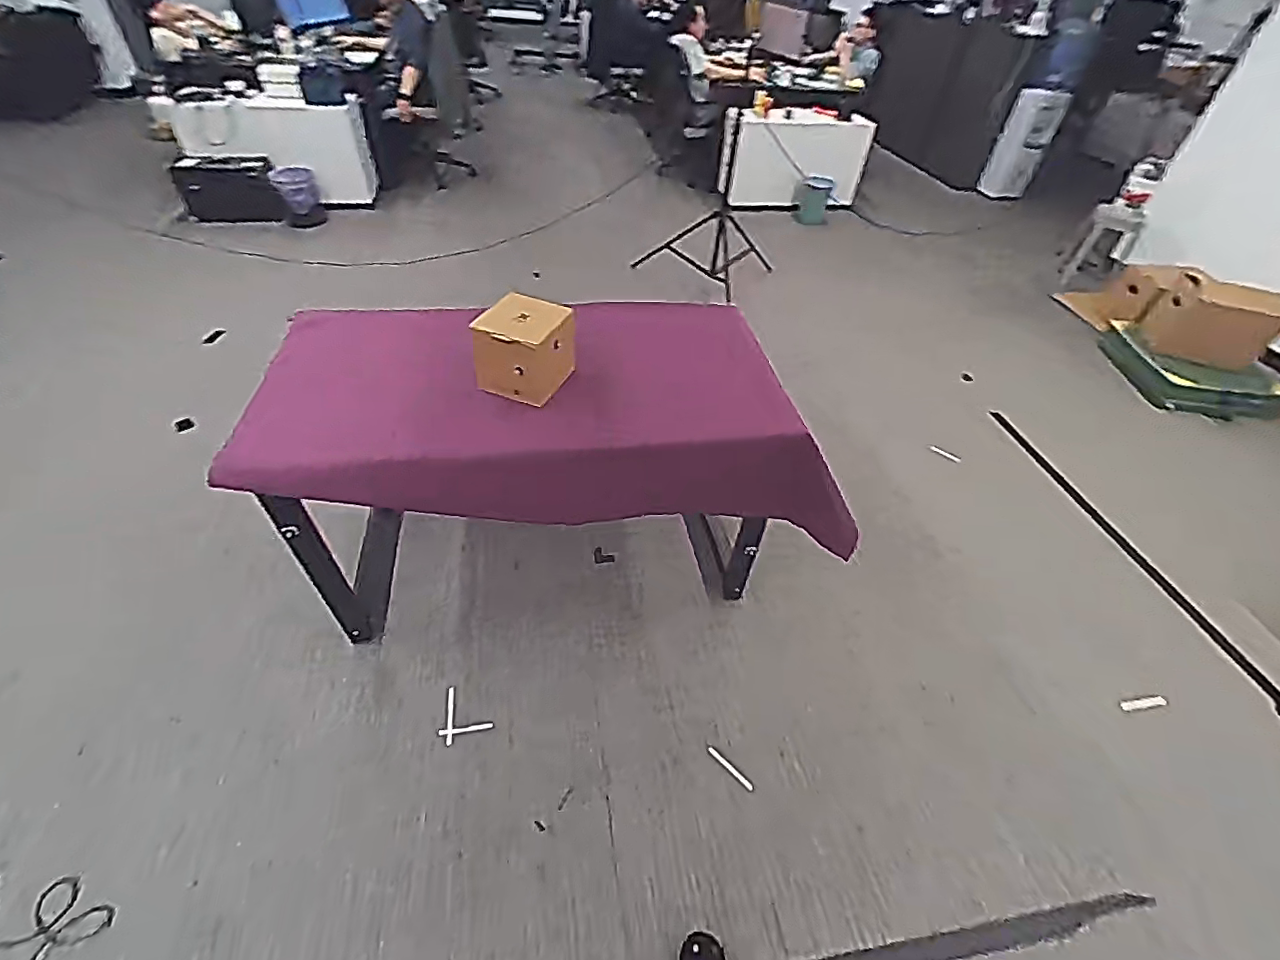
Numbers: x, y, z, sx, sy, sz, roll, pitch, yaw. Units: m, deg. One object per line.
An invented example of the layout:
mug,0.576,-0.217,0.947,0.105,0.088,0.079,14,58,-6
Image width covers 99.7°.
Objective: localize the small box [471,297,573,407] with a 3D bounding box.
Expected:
small box,-0.262,-0.295,1.253,0.168,0.176,0.179,18,46,12
